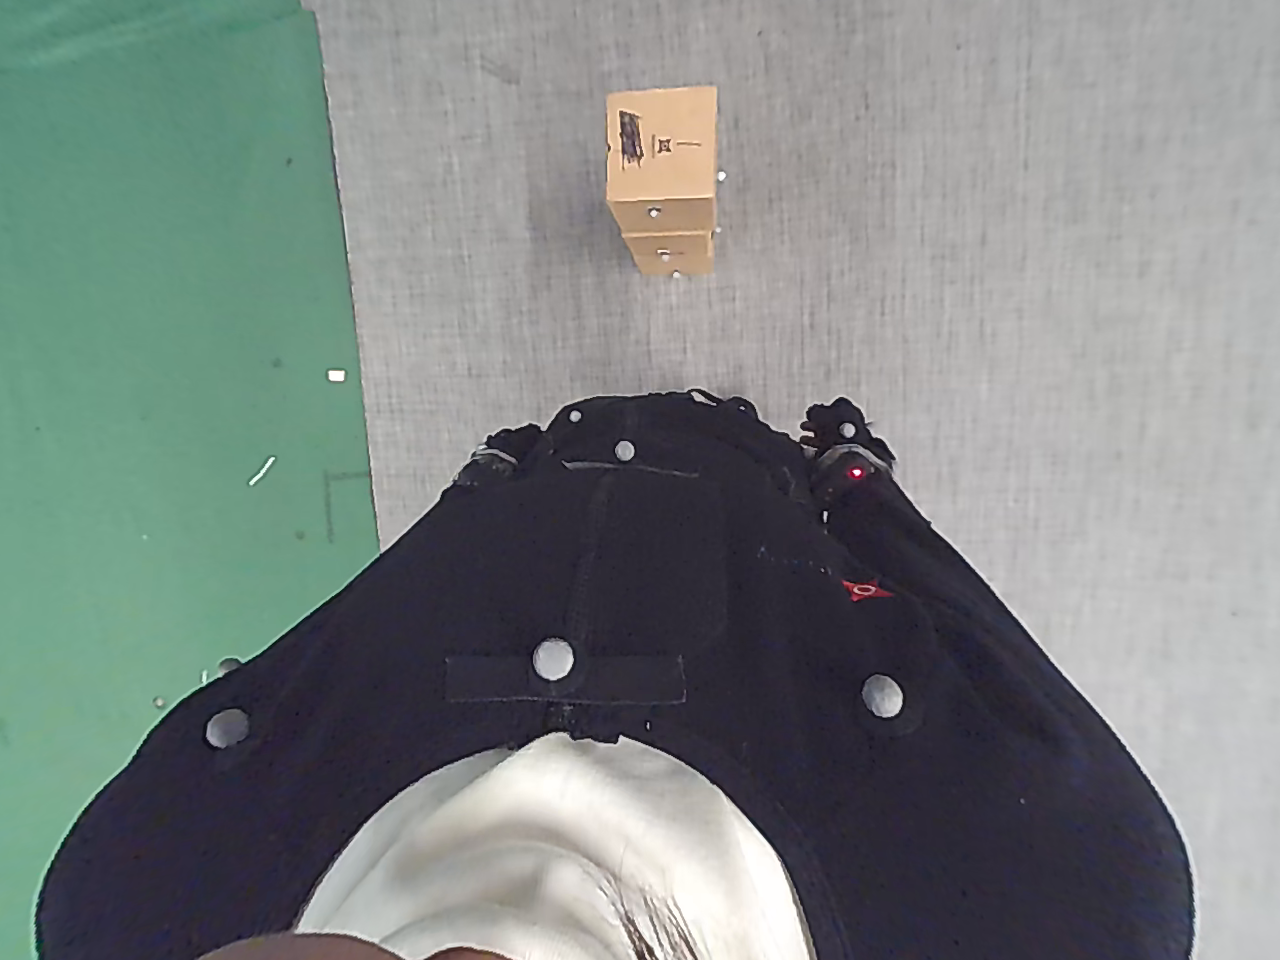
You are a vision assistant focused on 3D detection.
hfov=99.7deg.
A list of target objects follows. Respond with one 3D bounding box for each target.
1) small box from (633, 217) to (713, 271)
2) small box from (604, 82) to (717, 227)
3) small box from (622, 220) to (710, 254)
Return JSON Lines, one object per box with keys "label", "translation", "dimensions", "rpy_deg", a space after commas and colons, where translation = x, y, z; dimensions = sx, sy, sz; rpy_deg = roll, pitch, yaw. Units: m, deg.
{"label": "small box", "translation": [0.081, -0.592, 1.260], "dimensions": [0.179, 0.176, 0.168], "rpy_deg": [2, 99, 7]}
{"label": "small box", "translation": [0.041, -0.550, 0.938], "dimensions": [0.179, 0.176, 0.168], "rpy_deg": [2, 99, 8]}
{"label": "small box", "translation": [0.058, -0.574, 1.100], "dimensions": [0.168, 0.176, 0.179], "rpy_deg": [1, 100, 9]}
